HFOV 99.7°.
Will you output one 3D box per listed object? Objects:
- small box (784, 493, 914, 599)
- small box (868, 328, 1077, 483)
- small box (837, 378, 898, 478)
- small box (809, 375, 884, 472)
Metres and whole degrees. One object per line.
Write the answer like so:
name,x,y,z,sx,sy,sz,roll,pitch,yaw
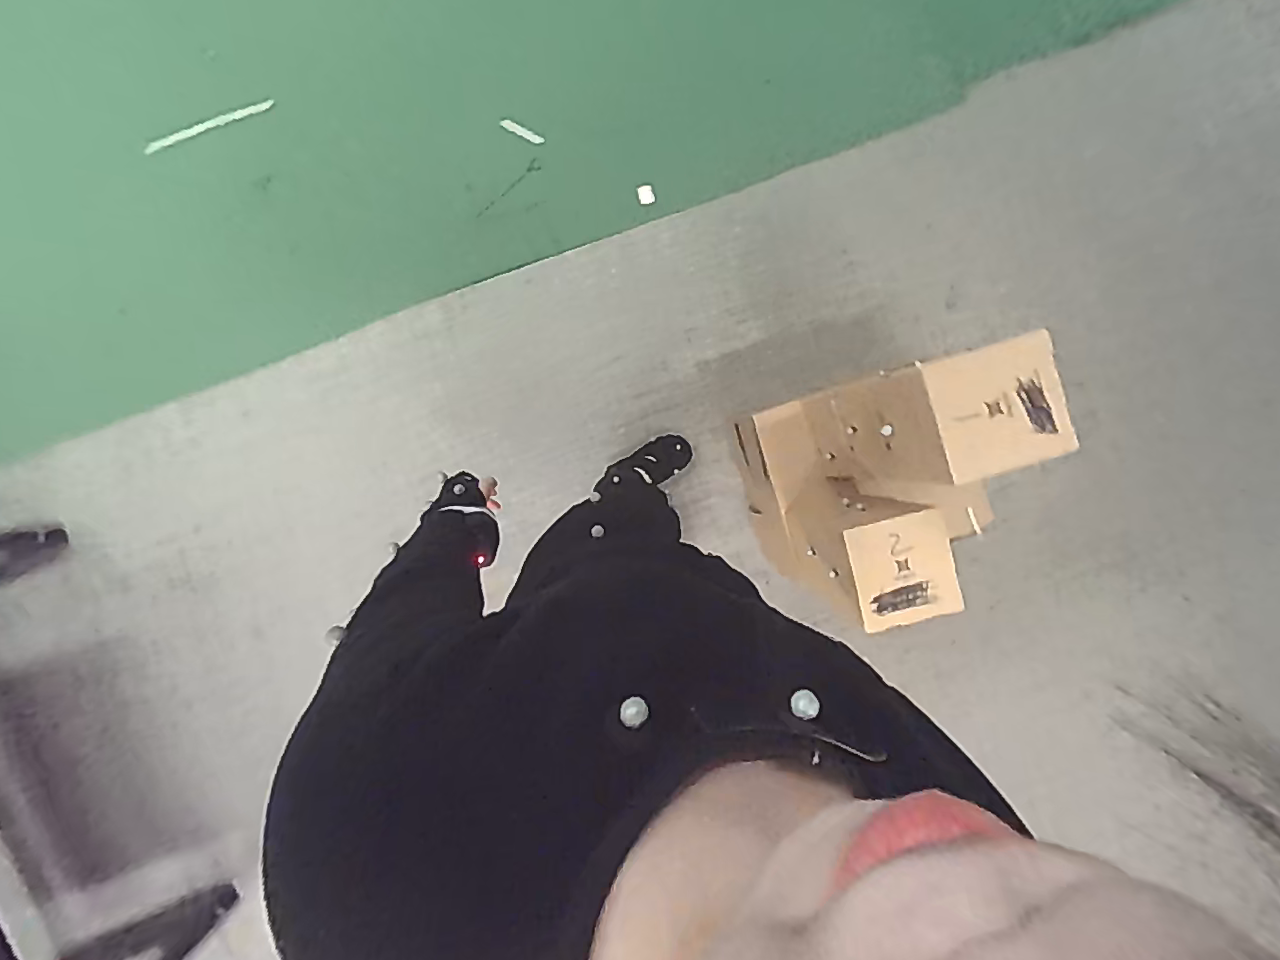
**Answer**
small box,0.419,0.126,1.106,0.179,0.176,0.168,-15,92,-2
small box,0.463,-0.100,0.778,0.179,0.176,0.168,-16,92,0
small box,0.472,-0.107,0.940,0.179,0.176,0.168,-15,92,2
small box,0.462,-0.115,1.104,0.179,0.176,0.168,-16,92,-2
